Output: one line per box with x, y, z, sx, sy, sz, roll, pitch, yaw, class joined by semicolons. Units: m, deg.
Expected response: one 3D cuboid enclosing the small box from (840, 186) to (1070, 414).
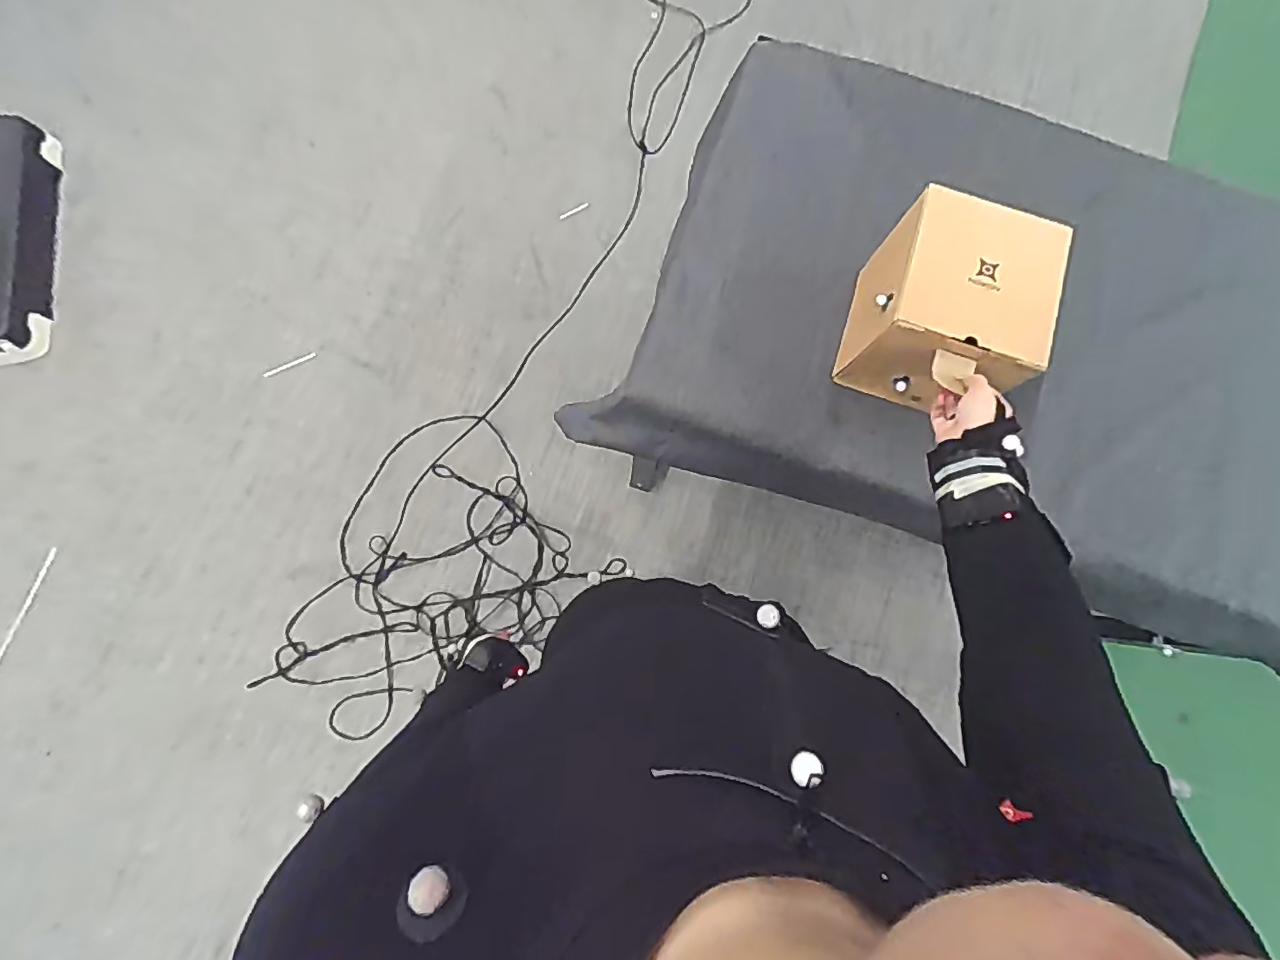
0.366;-0.204;0.655;0.168;0.176;0.179;18;79;0;small box
